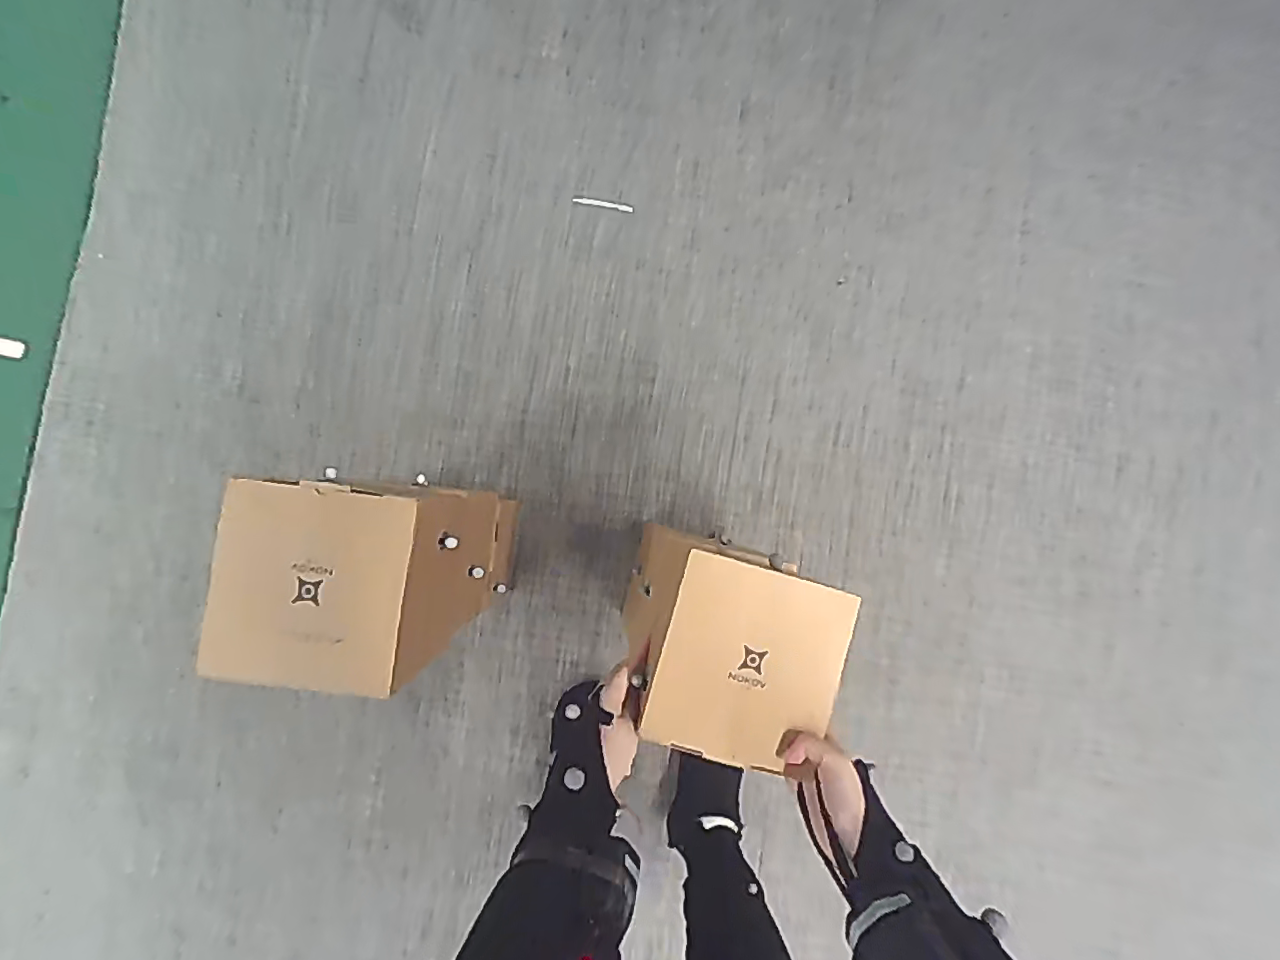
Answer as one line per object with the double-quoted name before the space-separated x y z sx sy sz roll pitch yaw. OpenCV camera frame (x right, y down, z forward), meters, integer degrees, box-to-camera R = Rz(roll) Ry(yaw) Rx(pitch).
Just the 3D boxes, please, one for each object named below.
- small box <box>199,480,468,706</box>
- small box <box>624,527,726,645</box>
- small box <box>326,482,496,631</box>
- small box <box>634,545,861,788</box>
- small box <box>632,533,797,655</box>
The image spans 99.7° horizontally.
"small box" -0.280 0.098 0.537 0.168 0.176 0.179 7 88 -2
"small box" 0.072 0.181 0.886 0.168 0.176 0.179 15 88 -3
"small box" -0.292 0.098 0.699 0.168 0.176 0.179 6 88 -3
"small box" 0.095 0.173 0.560 0.168 0.176 0.179 16 88 -4
"small box" 0.087 0.174 0.722 0.168 0.176 0.179 13 88 -3
